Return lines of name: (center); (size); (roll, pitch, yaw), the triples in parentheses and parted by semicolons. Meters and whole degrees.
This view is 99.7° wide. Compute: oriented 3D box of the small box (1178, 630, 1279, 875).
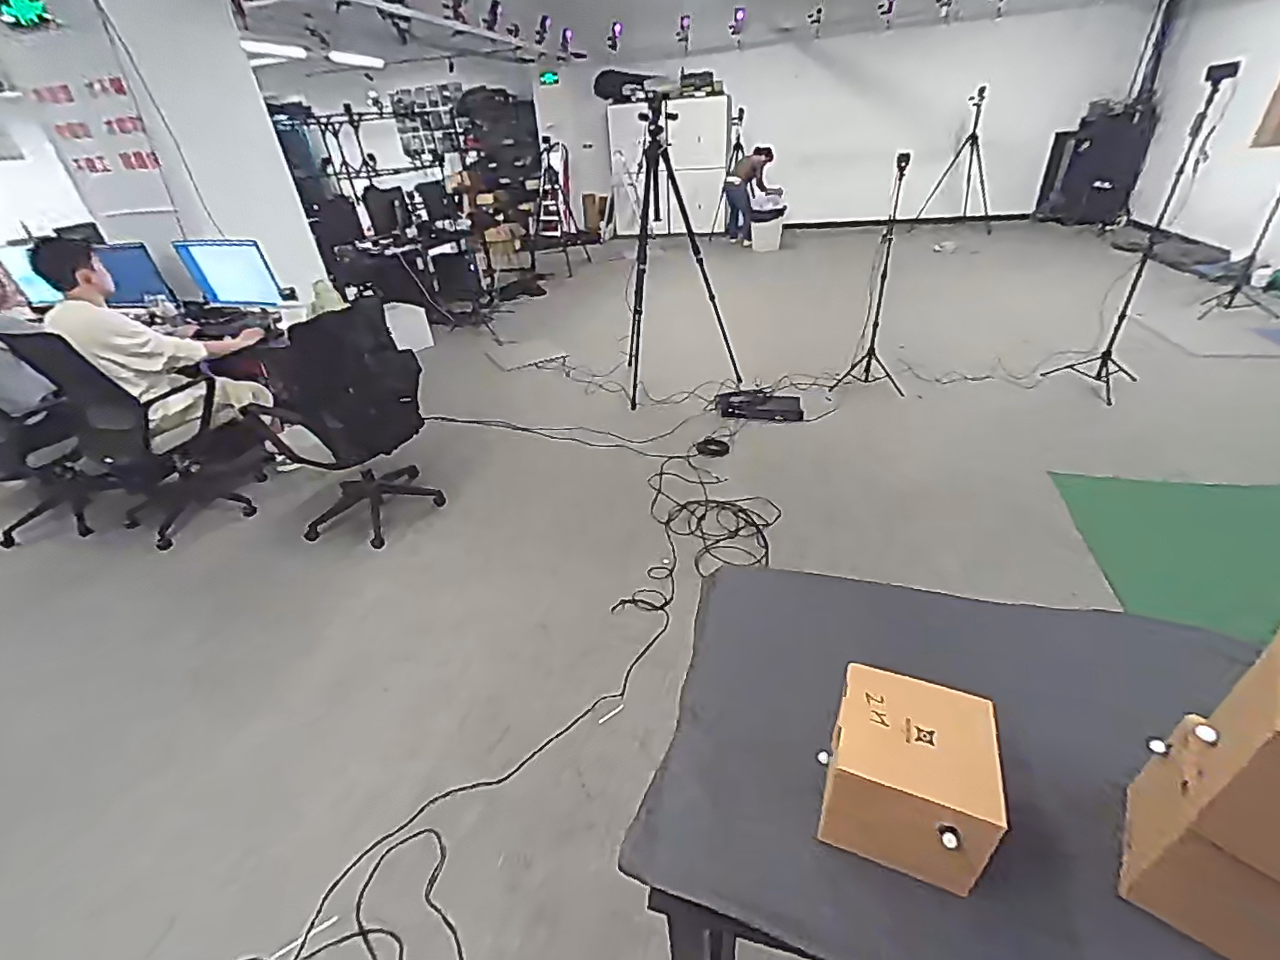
small box: (0.662, 0.278, 0.499); (0.168, 0.176, 0.179); (-29, 39, -34)

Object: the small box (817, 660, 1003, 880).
small box: (0.339, 0.373, 0.699); (0.179, 0.176, 0.168); (10, 35, 22)
